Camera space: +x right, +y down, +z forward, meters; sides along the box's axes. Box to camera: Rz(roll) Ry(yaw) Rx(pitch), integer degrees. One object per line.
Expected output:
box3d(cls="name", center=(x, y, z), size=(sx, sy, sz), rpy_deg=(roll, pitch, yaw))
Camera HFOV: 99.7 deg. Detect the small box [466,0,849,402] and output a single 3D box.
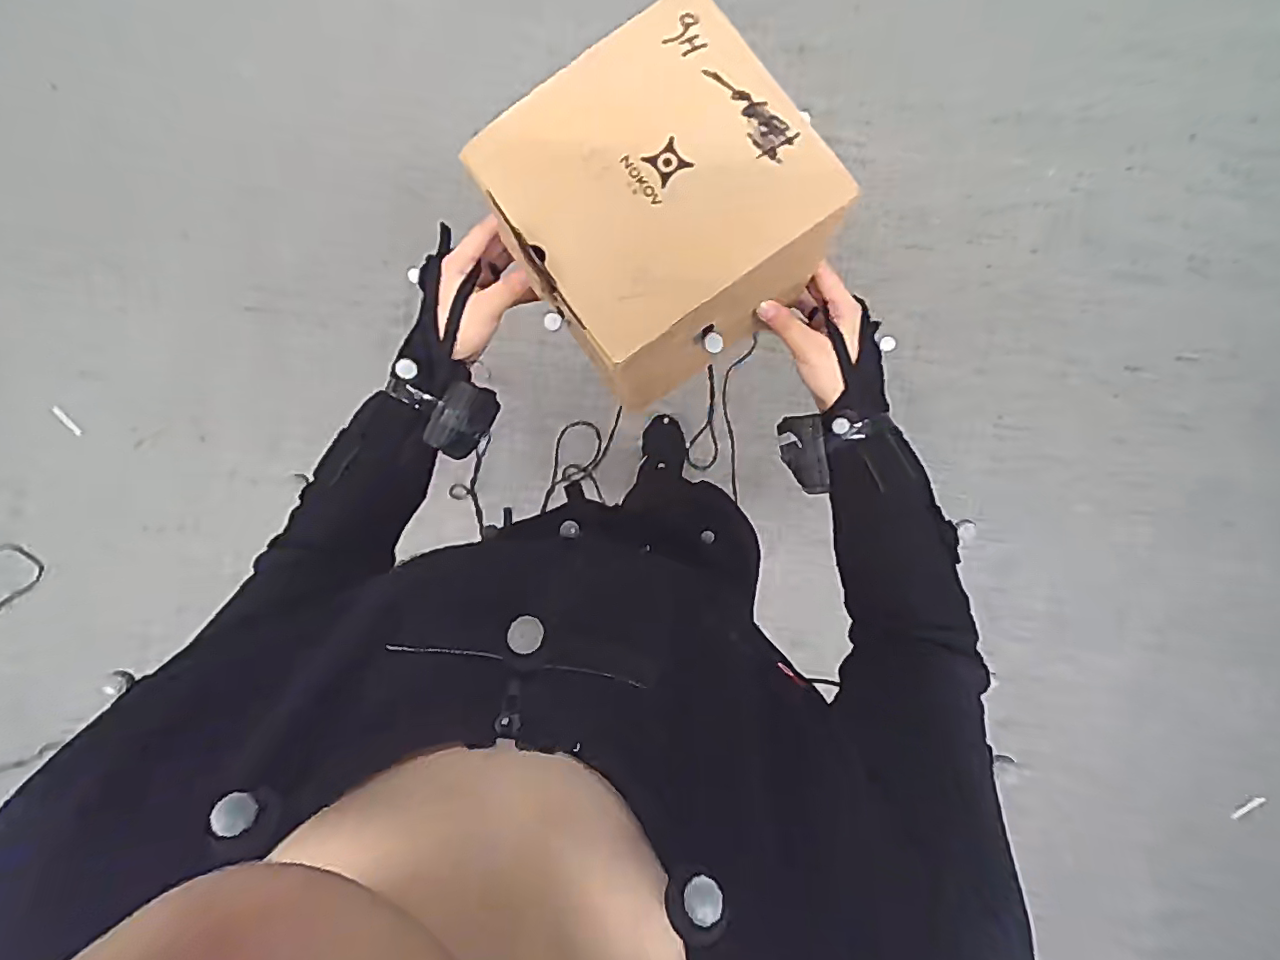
box3d(cls="small box", center=(0.014, -0.179, 0.400), size=(0.179, 0.176, 0.168), rpy_deg=(-36, 86, 2))
